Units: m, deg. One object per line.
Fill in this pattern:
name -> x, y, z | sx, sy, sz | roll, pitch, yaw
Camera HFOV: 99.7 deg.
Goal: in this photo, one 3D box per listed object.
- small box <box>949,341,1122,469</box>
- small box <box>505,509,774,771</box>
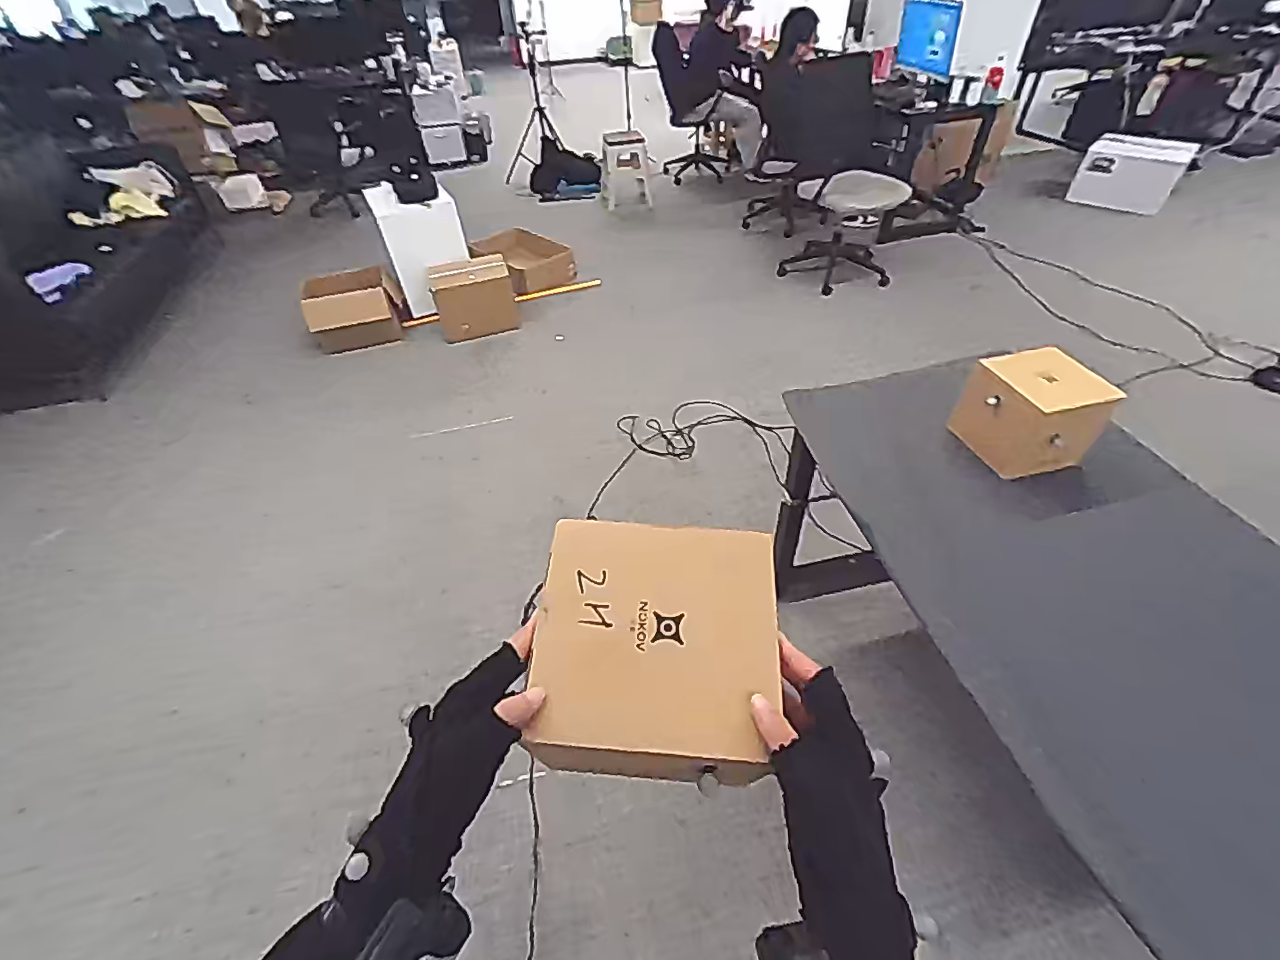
small box -> 0.738, -0.137, 1.033 | 0.168, 0.176, 0.179 | -12, 44, -7
small box -> 0.005, 0.141, 0.455 | 0.179, 0.176, 0.168 | 3, 56, 3
